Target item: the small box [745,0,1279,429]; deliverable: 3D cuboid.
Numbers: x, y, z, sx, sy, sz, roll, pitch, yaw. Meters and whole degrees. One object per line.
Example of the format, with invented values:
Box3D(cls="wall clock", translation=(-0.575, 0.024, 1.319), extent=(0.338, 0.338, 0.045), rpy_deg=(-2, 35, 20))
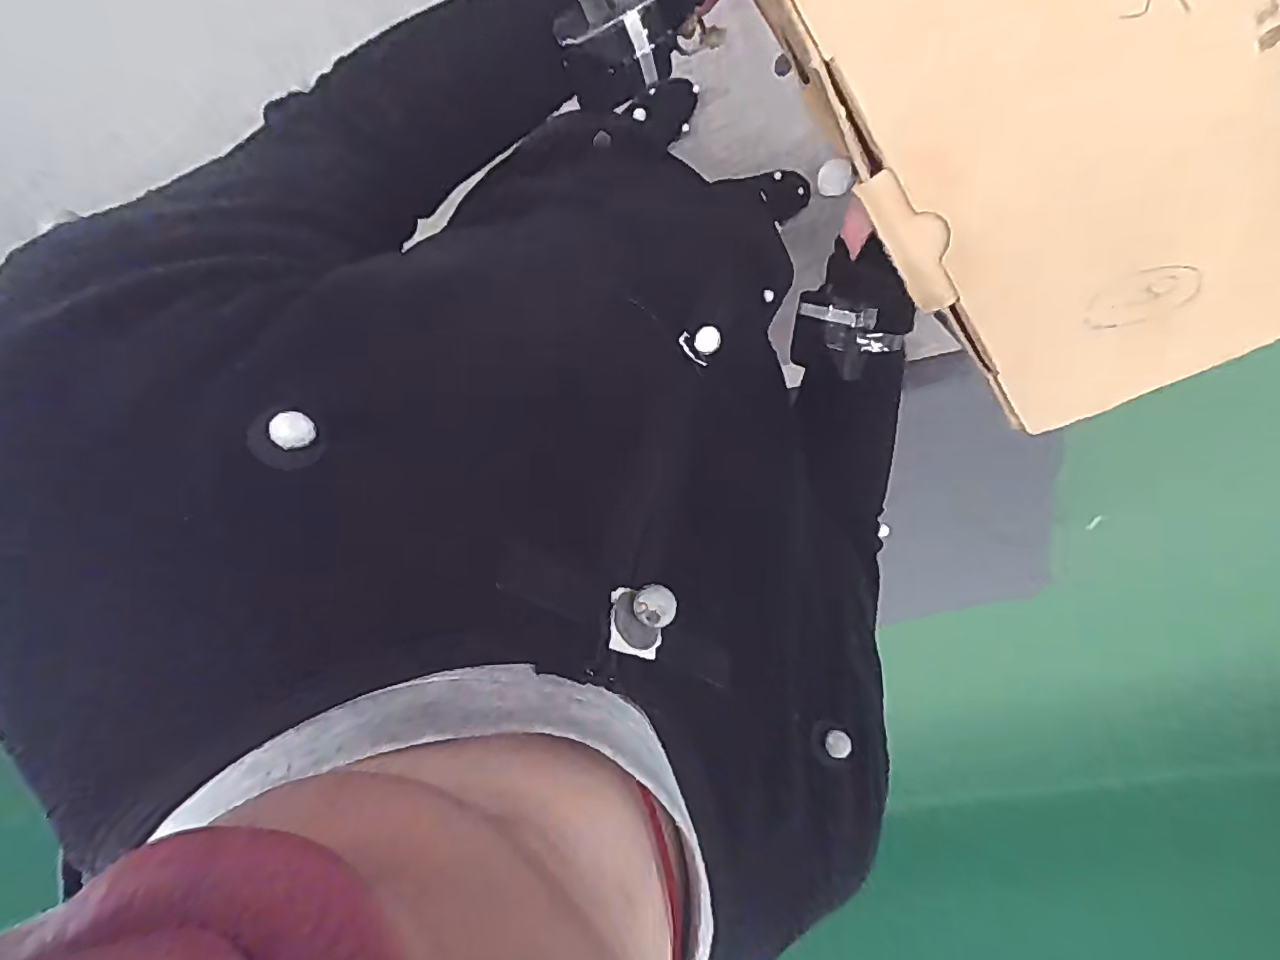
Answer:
Box3D(cls="small box", translation=(0.145, -0.153, 0.156), extent=(0.179, 0.176, 0.168), rpy_deg=(-29, 122, 33))
